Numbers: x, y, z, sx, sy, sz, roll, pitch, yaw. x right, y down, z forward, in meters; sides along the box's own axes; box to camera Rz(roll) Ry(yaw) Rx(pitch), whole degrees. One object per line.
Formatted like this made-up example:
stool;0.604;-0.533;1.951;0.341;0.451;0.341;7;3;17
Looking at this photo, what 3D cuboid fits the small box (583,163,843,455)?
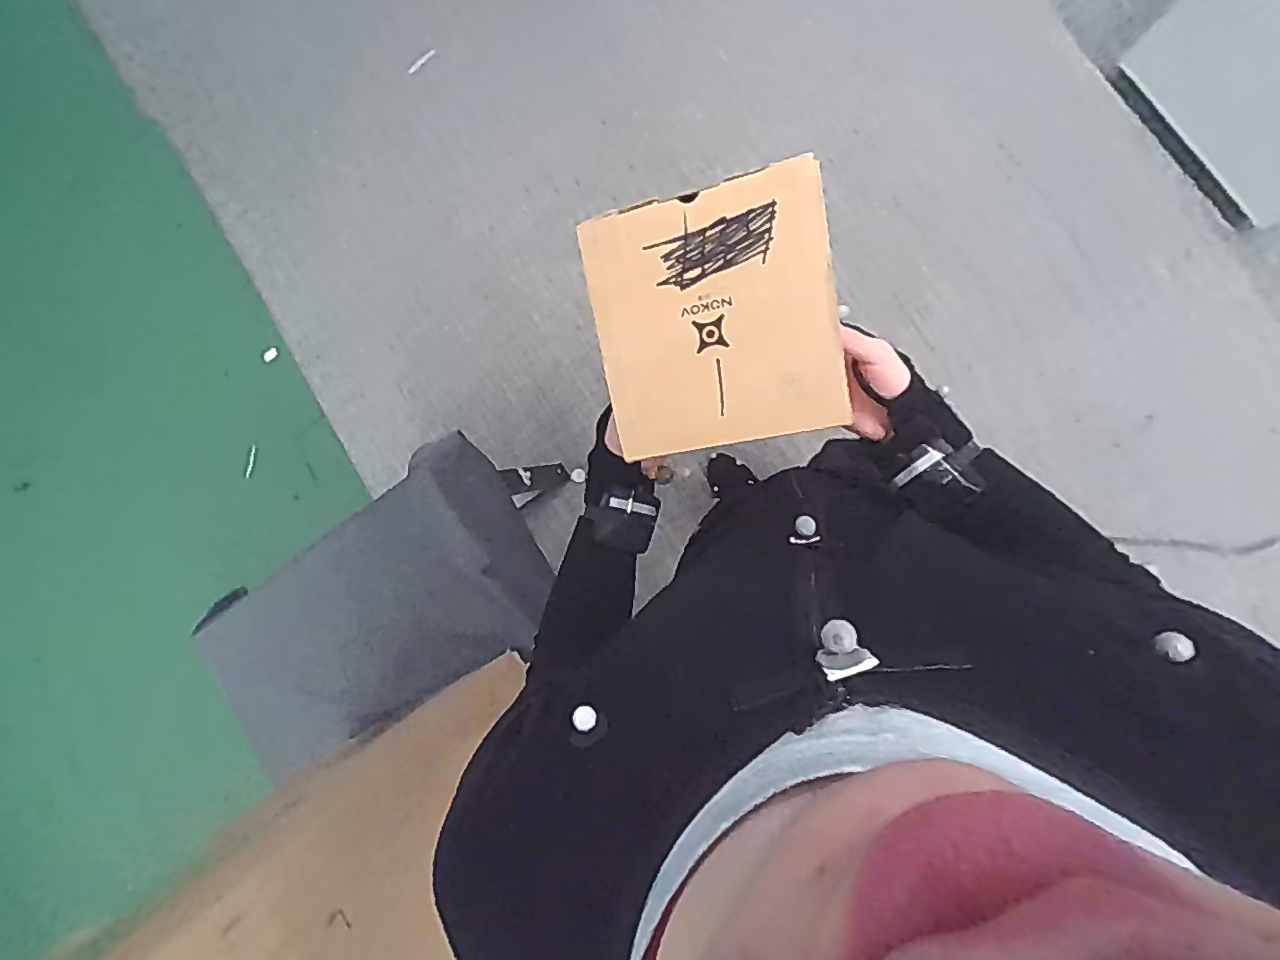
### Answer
small box;0.068;-0.125;0.454;0.168;0.176;0.179;-7;99;16
